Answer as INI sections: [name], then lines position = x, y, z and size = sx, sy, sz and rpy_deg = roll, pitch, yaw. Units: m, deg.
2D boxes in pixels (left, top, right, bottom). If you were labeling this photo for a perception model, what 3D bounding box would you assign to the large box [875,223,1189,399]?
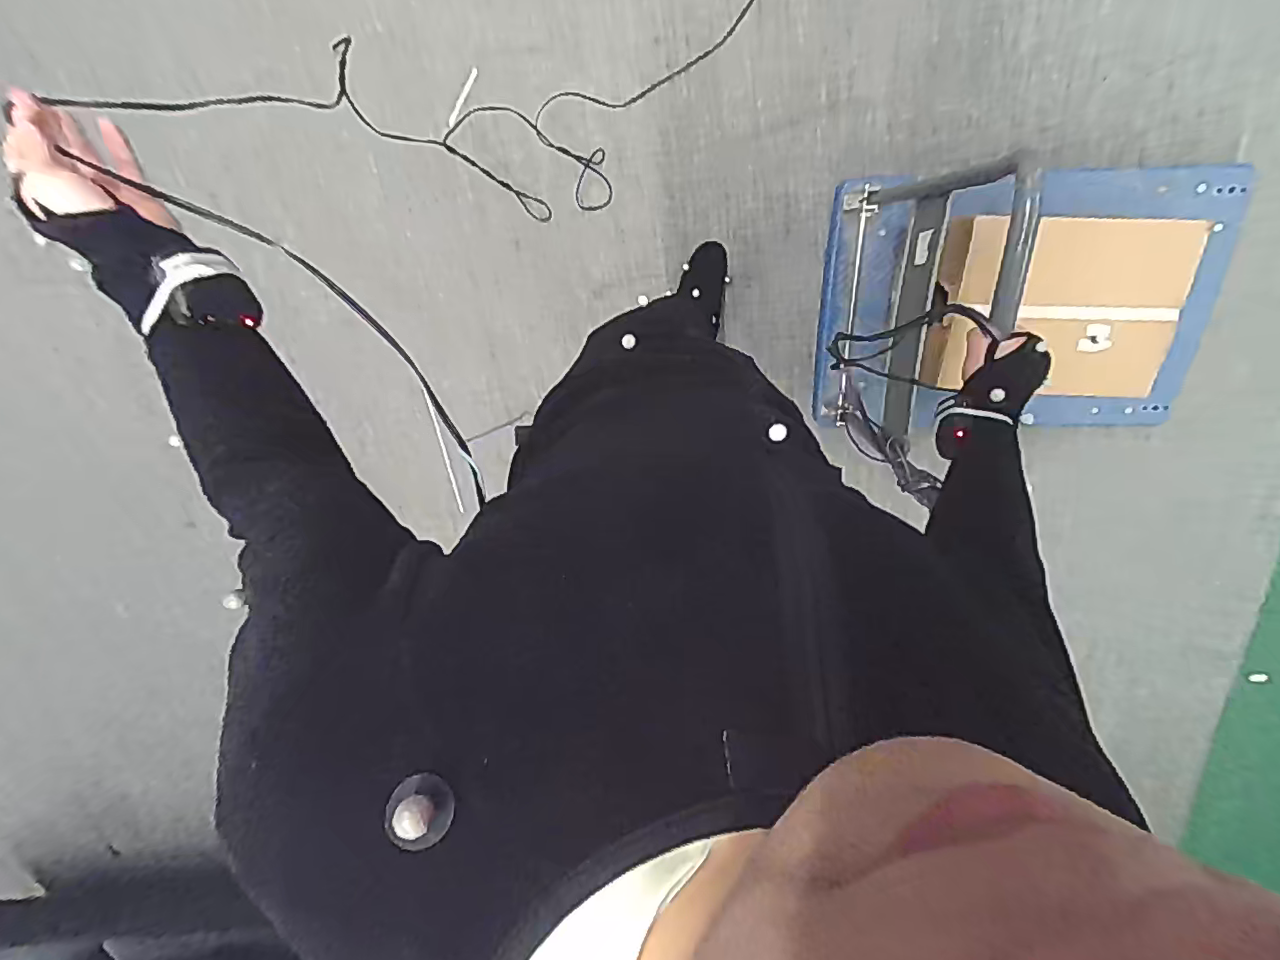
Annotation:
[large box]
position = 0.770, -0.357, 1.145
size = 0.408, 0.320, 0.320
rpy_deg = 2, 112, 2
